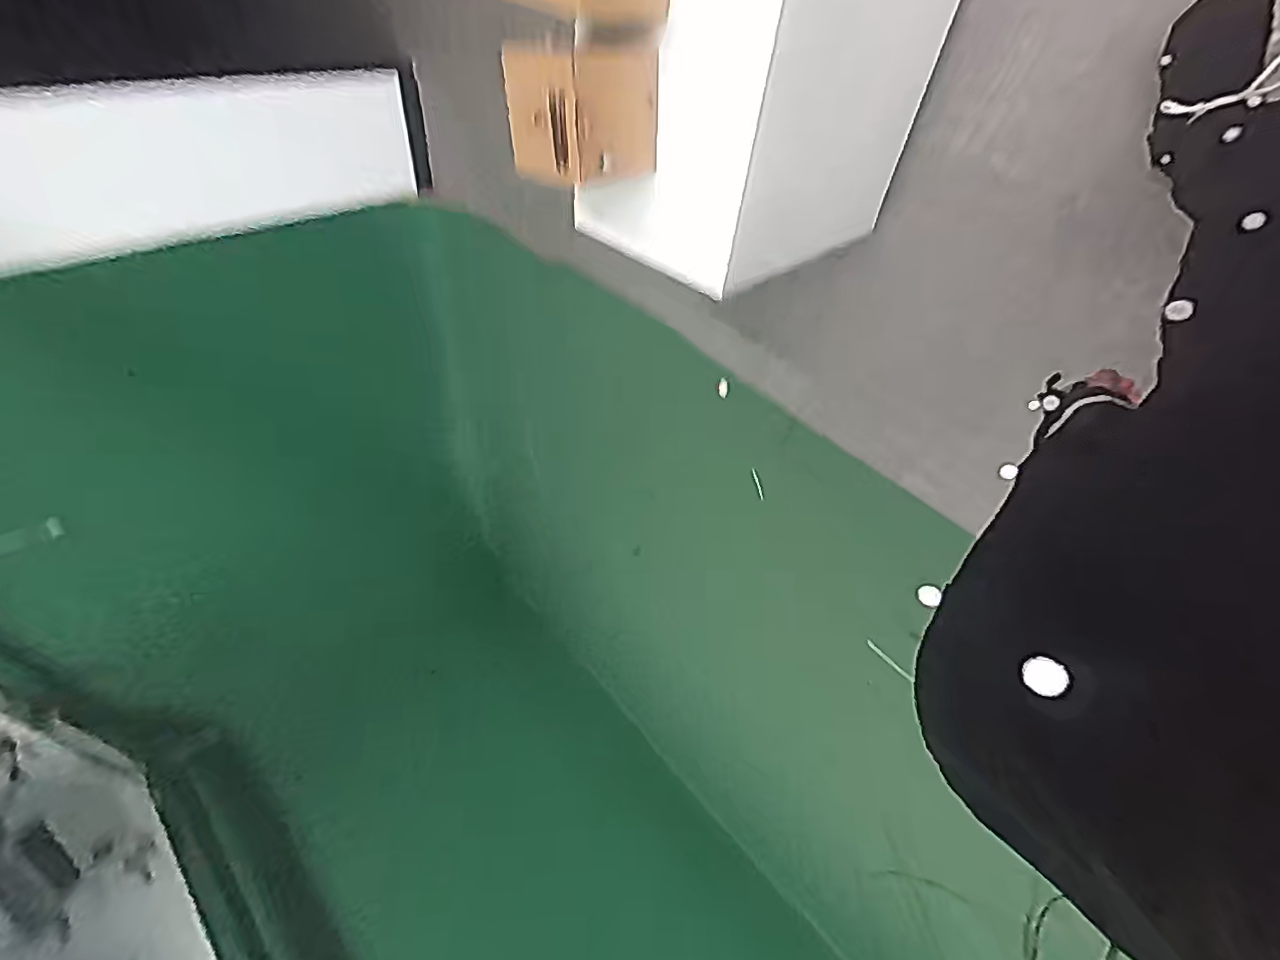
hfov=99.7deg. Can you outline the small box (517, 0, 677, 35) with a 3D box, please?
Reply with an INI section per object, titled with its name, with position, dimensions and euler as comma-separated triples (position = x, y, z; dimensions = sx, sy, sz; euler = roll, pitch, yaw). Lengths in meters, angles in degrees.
[small box]
position = -0.049, -0.722, 0.723
dimensions = 0.179, 0.176, 0.168
euler = 41, 143, 25
